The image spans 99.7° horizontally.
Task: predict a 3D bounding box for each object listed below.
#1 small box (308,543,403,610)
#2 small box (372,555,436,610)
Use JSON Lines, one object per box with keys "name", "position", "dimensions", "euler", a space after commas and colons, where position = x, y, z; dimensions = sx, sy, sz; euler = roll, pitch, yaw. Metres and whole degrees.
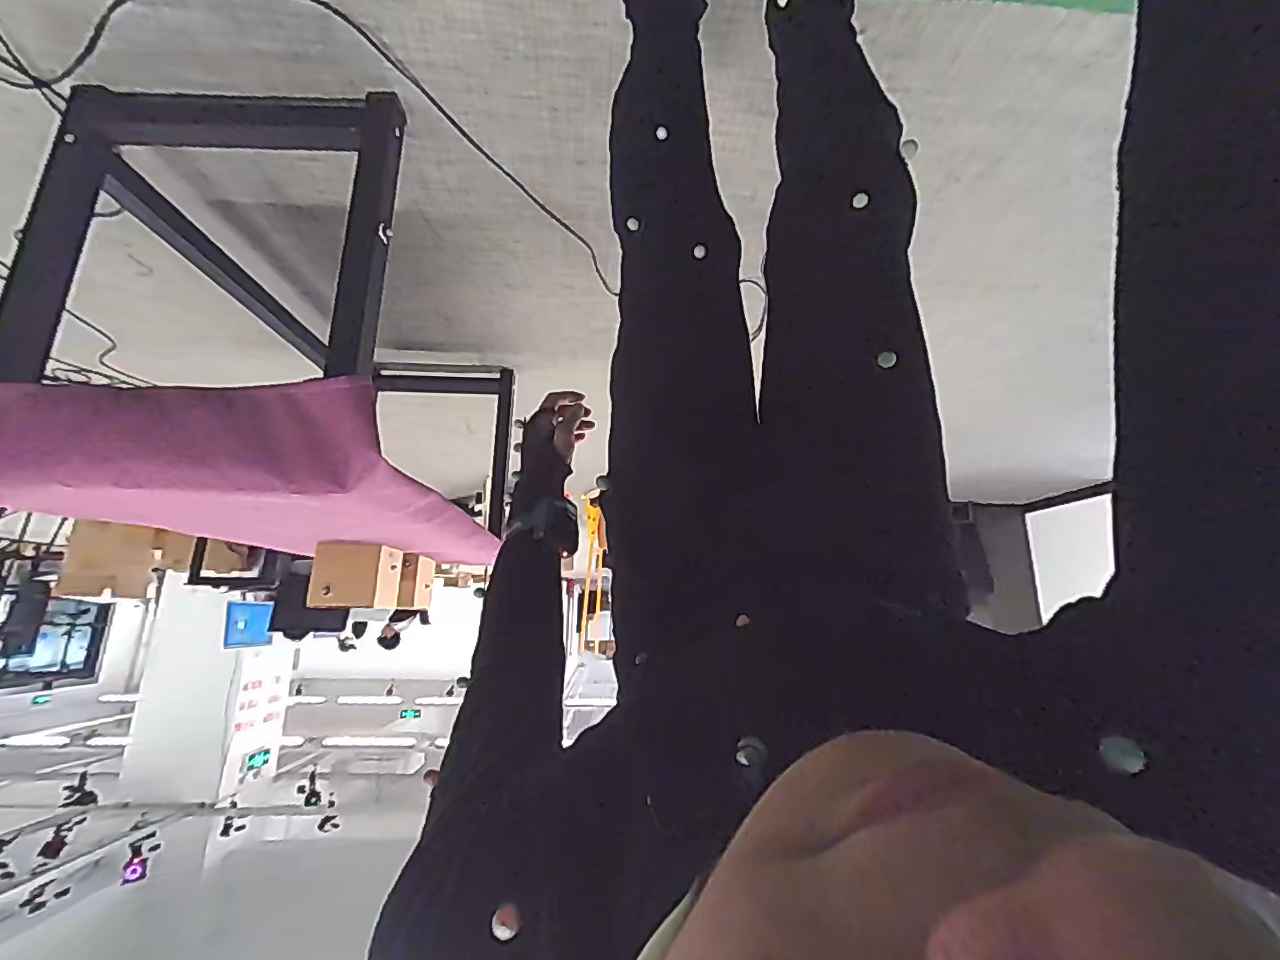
{"name": "small box", "position": [-0.779, 0.269, 1.497], "dimensions": [0.179, 0.176, 0.168], "euler": [1, 166, -4]}
{"name": "small box", "position": [-0.773, 0.331, 1.745], "dimensions": [0.168, 0.176, 0.179], "euler": [2, 167, -3]}
